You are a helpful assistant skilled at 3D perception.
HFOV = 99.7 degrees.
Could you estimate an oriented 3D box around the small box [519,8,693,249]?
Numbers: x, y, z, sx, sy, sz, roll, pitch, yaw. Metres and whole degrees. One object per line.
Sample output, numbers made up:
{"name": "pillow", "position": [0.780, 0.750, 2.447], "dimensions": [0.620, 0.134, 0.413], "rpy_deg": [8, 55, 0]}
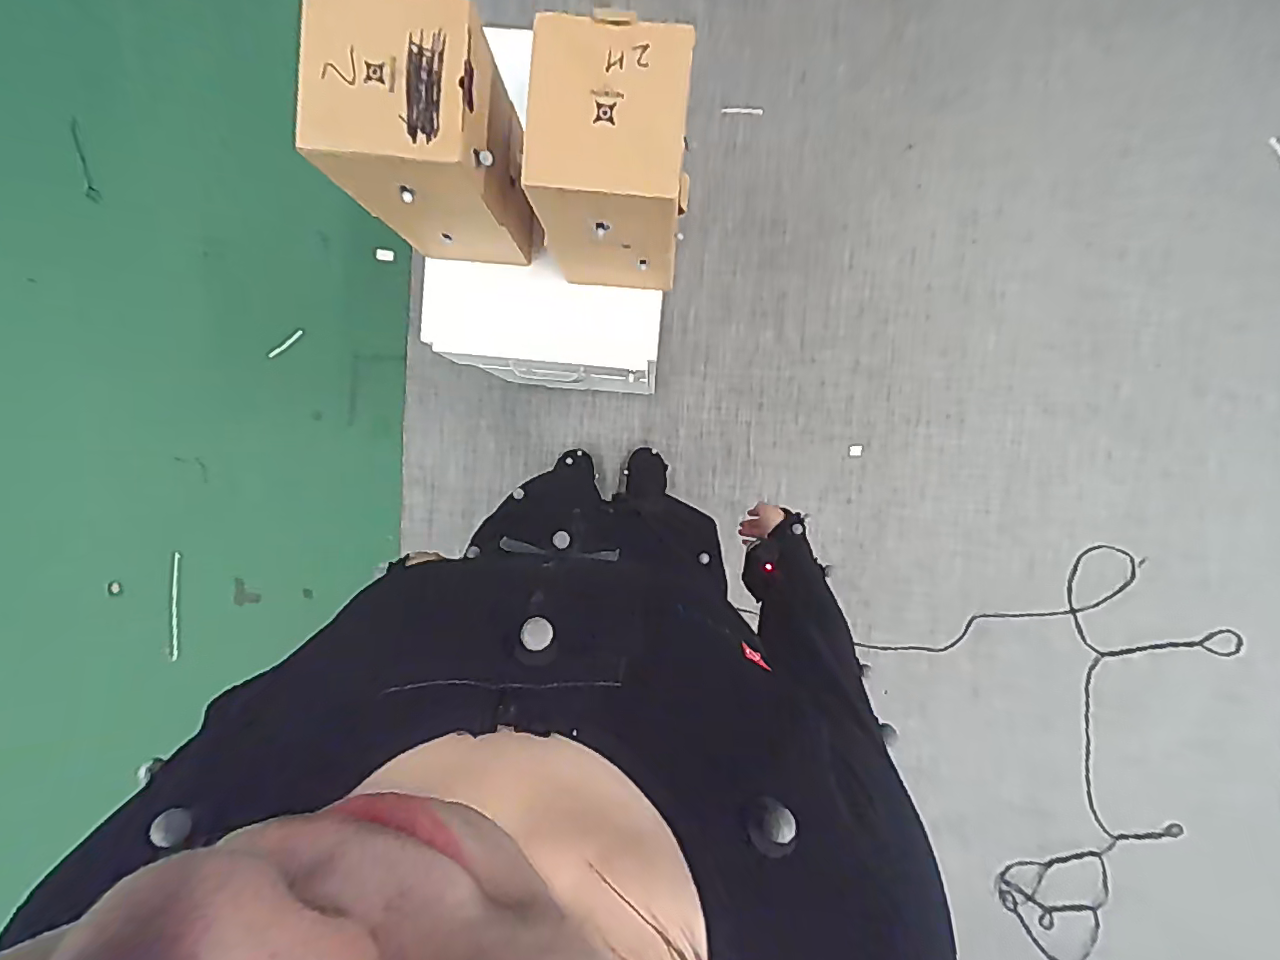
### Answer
{"name": "small box", "position": [-0.034, -0.390, 0.633], "dimensions": [0.168, 0.176, 0.179], "rpy_deg": [6, 94, 0]}

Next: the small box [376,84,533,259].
{"name": "small box", "position": [-0.262, -0.441, 0.798], "dimensions": [0.179, 0.176, 0.168], "rpy_deg": [4, 94, -1]}
